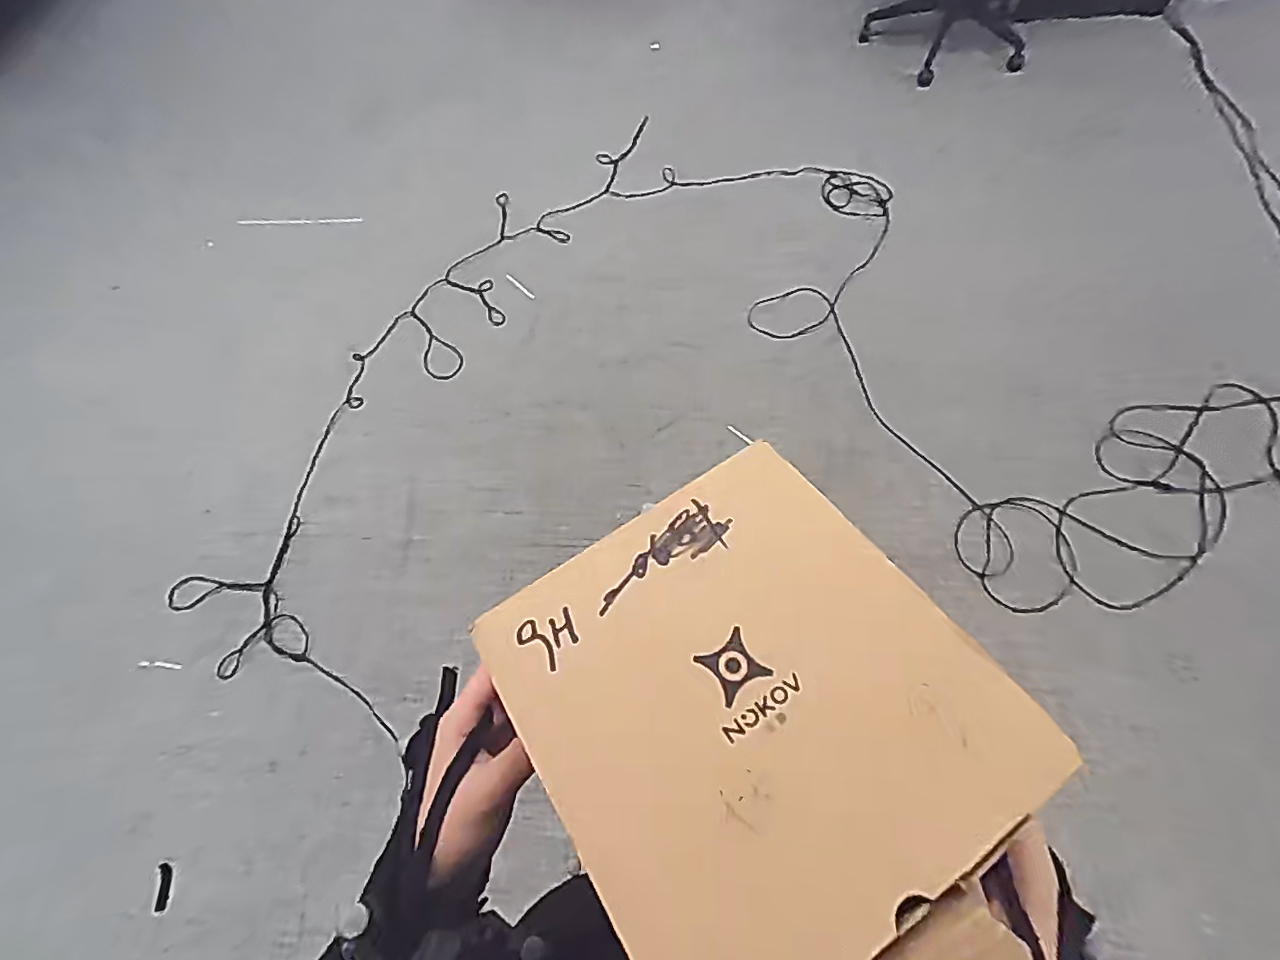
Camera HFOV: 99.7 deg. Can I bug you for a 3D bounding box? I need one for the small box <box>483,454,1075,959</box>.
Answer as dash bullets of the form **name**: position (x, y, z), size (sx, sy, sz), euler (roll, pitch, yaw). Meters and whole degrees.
- **small box**: position (0.050, 0.126, 0.283), size (0.168, 0.176, 0.179), euler (-30, 61, -12)
